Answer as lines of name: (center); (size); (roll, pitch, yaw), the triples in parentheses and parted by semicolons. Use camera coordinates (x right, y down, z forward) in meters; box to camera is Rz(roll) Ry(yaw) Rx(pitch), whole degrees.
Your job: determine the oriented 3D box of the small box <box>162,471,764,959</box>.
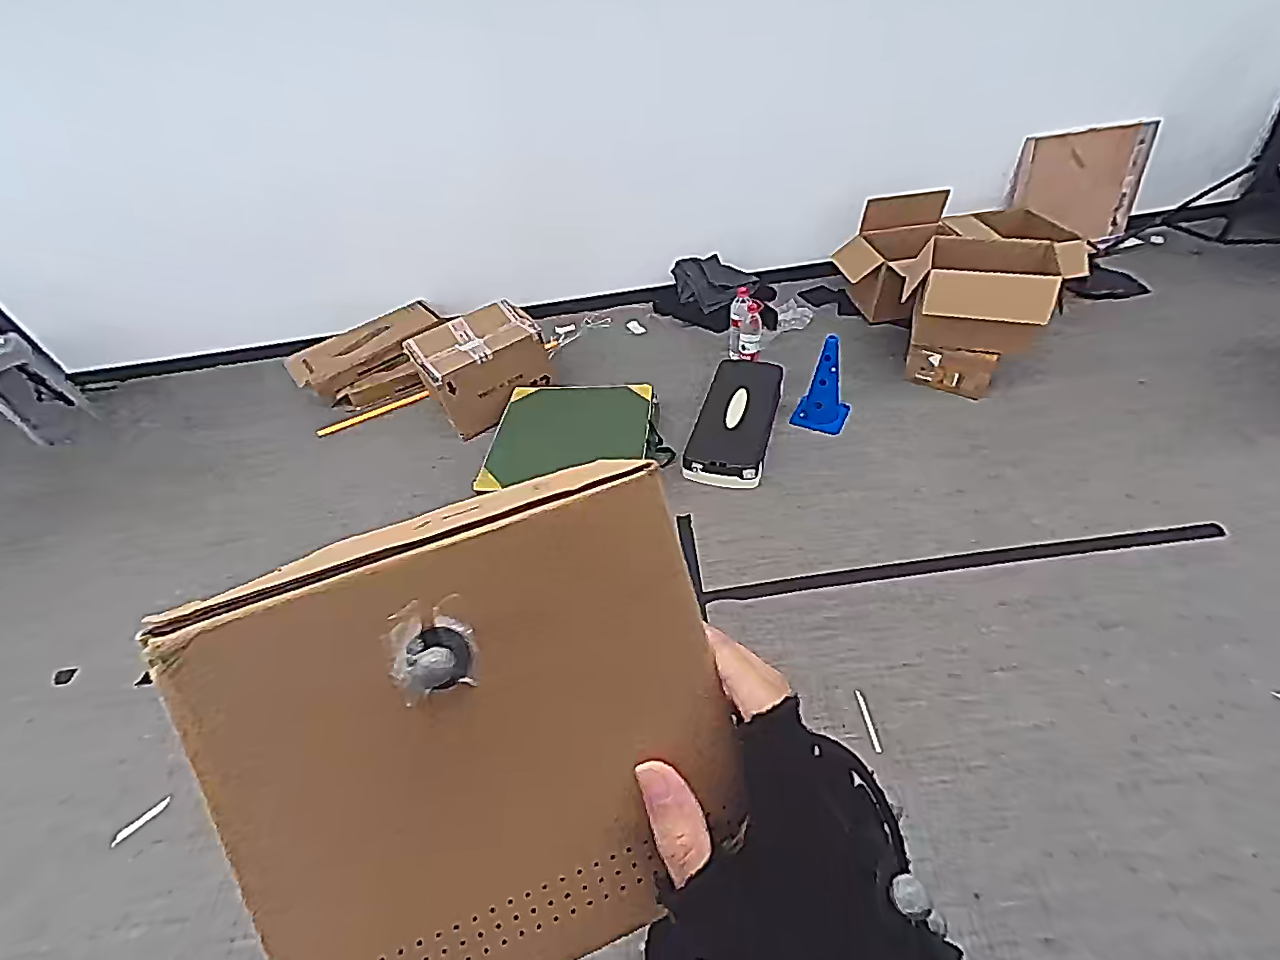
small box: (-0.064, 0.101, 0.271); (0.179, 0.176, 0.168); (-18, 6, -8)
